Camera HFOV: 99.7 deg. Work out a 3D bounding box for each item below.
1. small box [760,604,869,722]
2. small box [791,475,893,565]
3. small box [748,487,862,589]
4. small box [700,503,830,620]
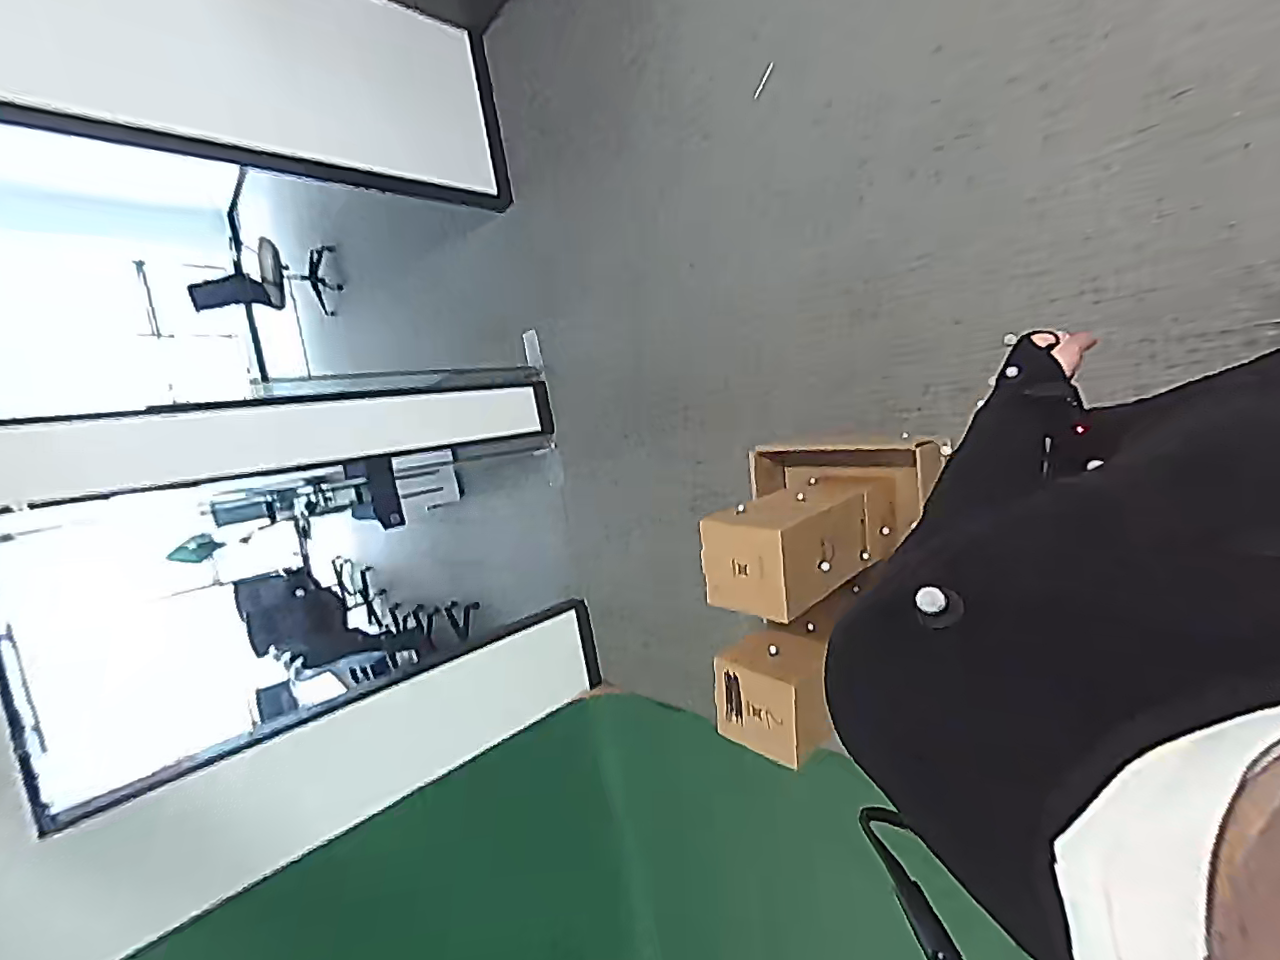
[{"bbox_3d":[0.382,0.383,1.171,0.179,0.176,0.168,4,102,46],"label":"small box"},{"bbox_3d":[0.470,0.083,1.246,0.179,0.176,0.168,3,103,47],"label":"small box"},{"bbox_3d":[0.351,0.112,1.136,0.179,0.176,0.168,3,102,47],"label":"small box"},{"bbox_3d":[0.237,0.141,1.023,0.179,0.176,0.168,3,103,46],"label":"small box"}]
